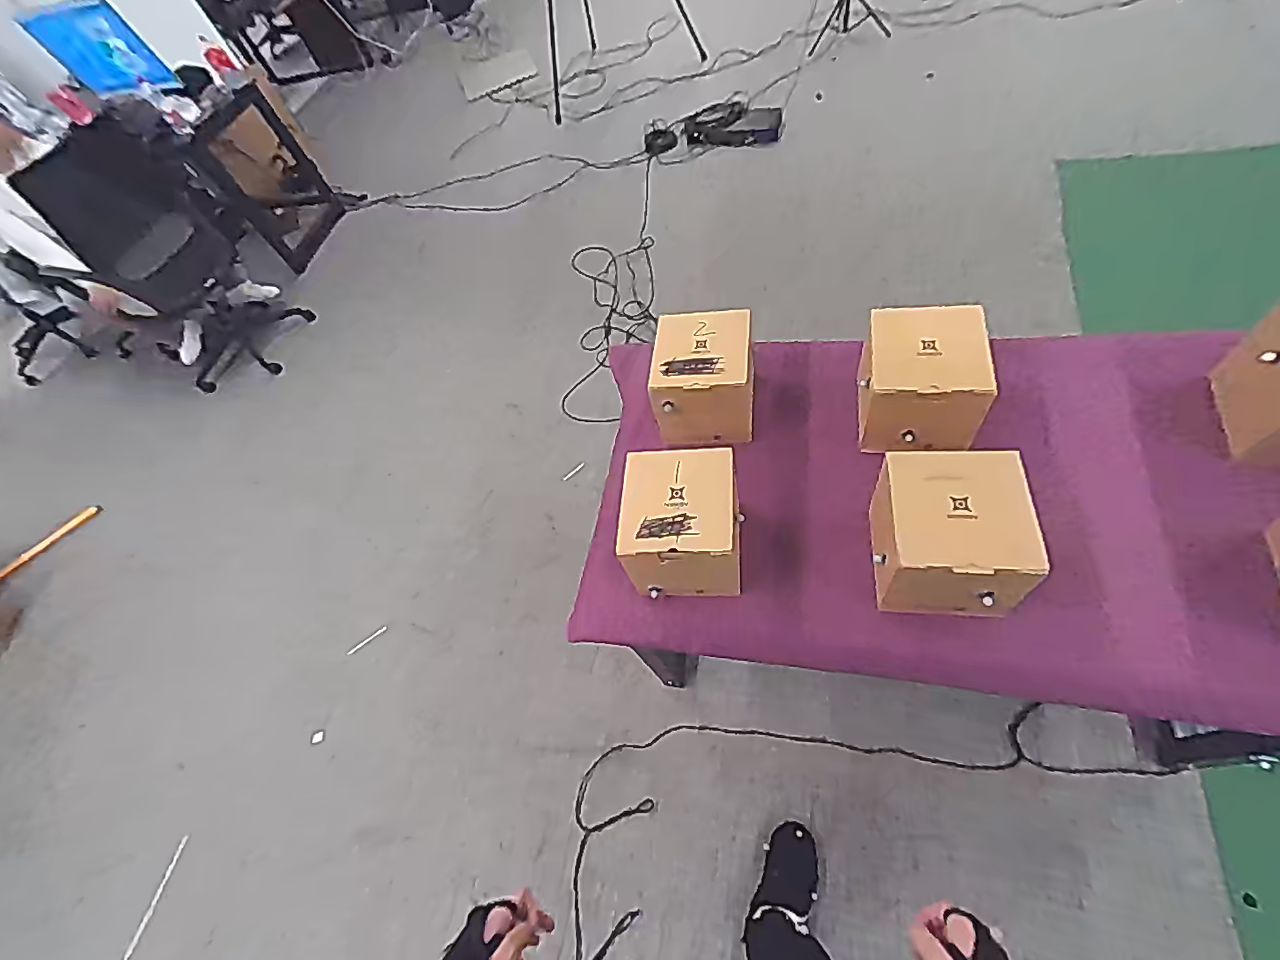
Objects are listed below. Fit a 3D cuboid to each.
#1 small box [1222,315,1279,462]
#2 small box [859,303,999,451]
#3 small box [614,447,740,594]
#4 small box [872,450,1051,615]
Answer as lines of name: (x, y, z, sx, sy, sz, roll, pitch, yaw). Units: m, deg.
small box: (0.954, -0.135, 0.731, 0.168, 0.176, 0.179, 7, 62, 20)
small box: (0.458, -0.164, 0.886, 0.168, 0.176, 0.179, 2, 61, 16)
small box: (0.068, 0.070, 0.843, 0.168, 0.176, 0.179, -2, 57, 13)
small box: (0.424, 0.076, 0.747, 0.168, 0.176, 0.179, 1, 58, 14)
